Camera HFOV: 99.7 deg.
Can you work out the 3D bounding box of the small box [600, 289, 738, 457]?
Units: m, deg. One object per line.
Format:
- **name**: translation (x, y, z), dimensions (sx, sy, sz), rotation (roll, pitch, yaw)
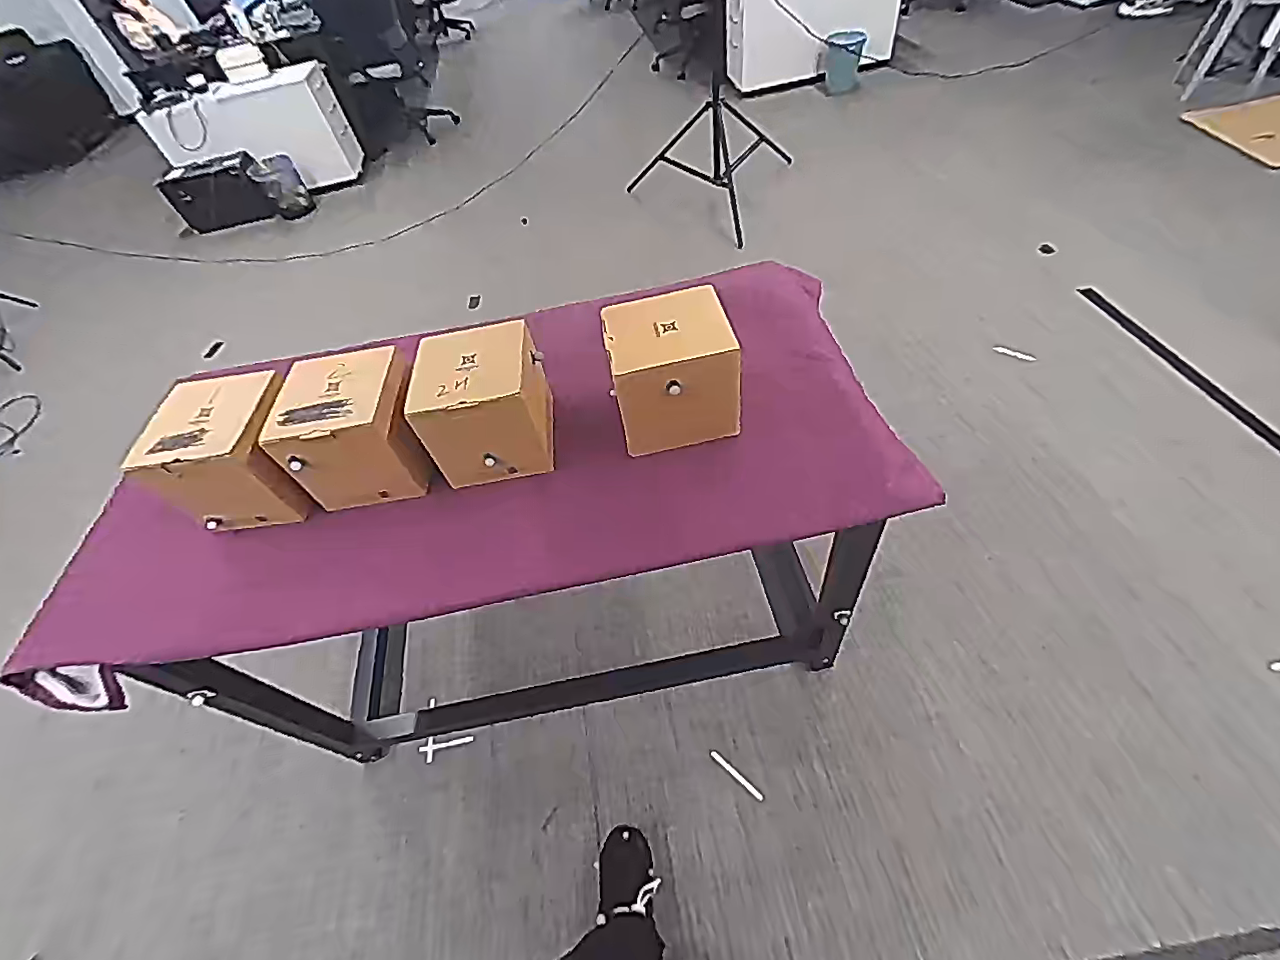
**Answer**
- **small box**: translation (0.046, -0.160, 0.833), dimensions (0.179, 0.176, 0.168), rotation (-13, 50, 1)
